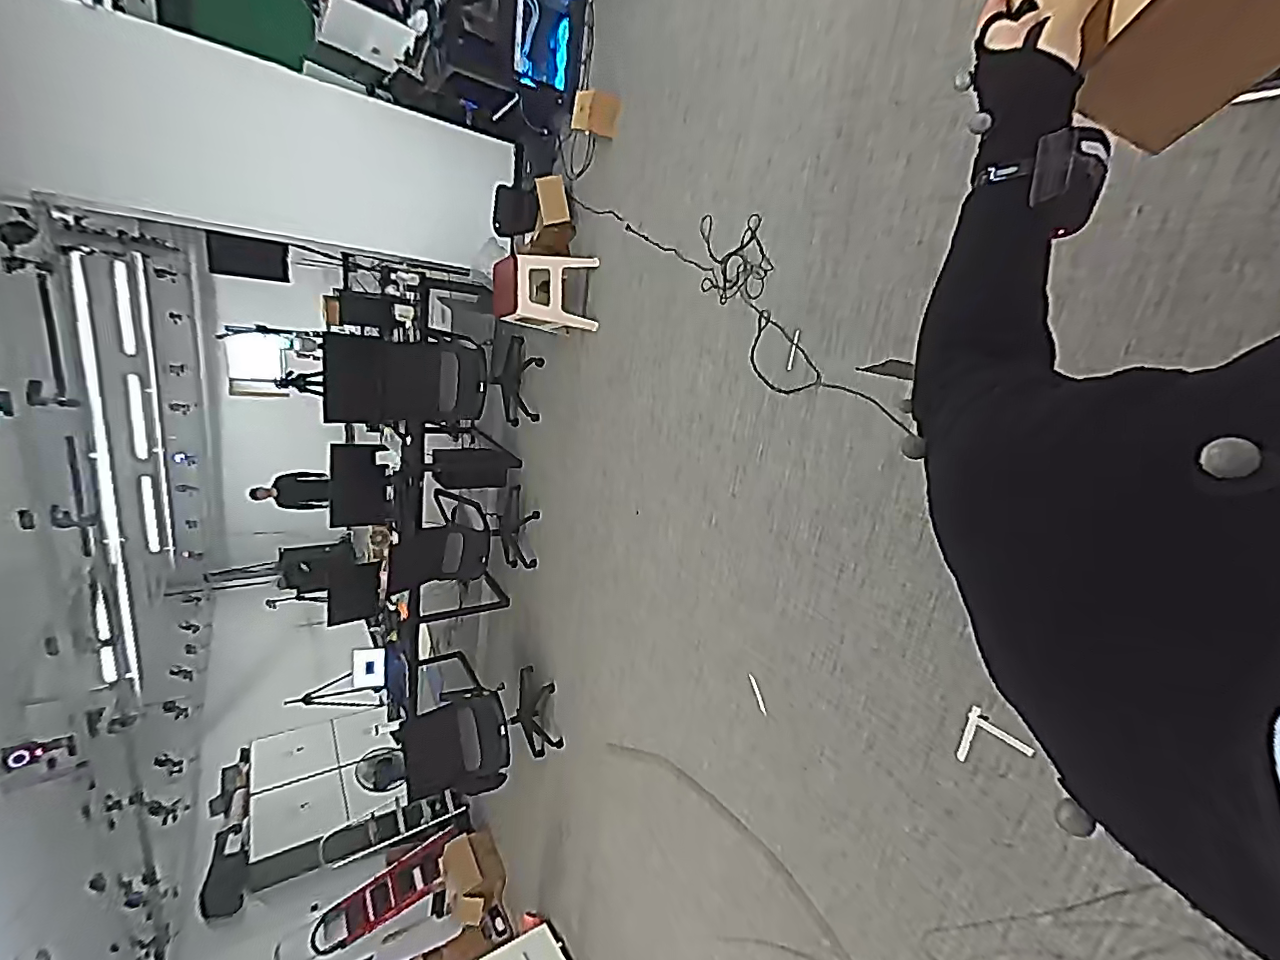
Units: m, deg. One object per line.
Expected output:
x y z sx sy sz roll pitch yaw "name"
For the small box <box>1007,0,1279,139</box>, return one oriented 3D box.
0.434 -0.420 0.427 0.179 0.176 0.168 139 128 -58 "small box"
